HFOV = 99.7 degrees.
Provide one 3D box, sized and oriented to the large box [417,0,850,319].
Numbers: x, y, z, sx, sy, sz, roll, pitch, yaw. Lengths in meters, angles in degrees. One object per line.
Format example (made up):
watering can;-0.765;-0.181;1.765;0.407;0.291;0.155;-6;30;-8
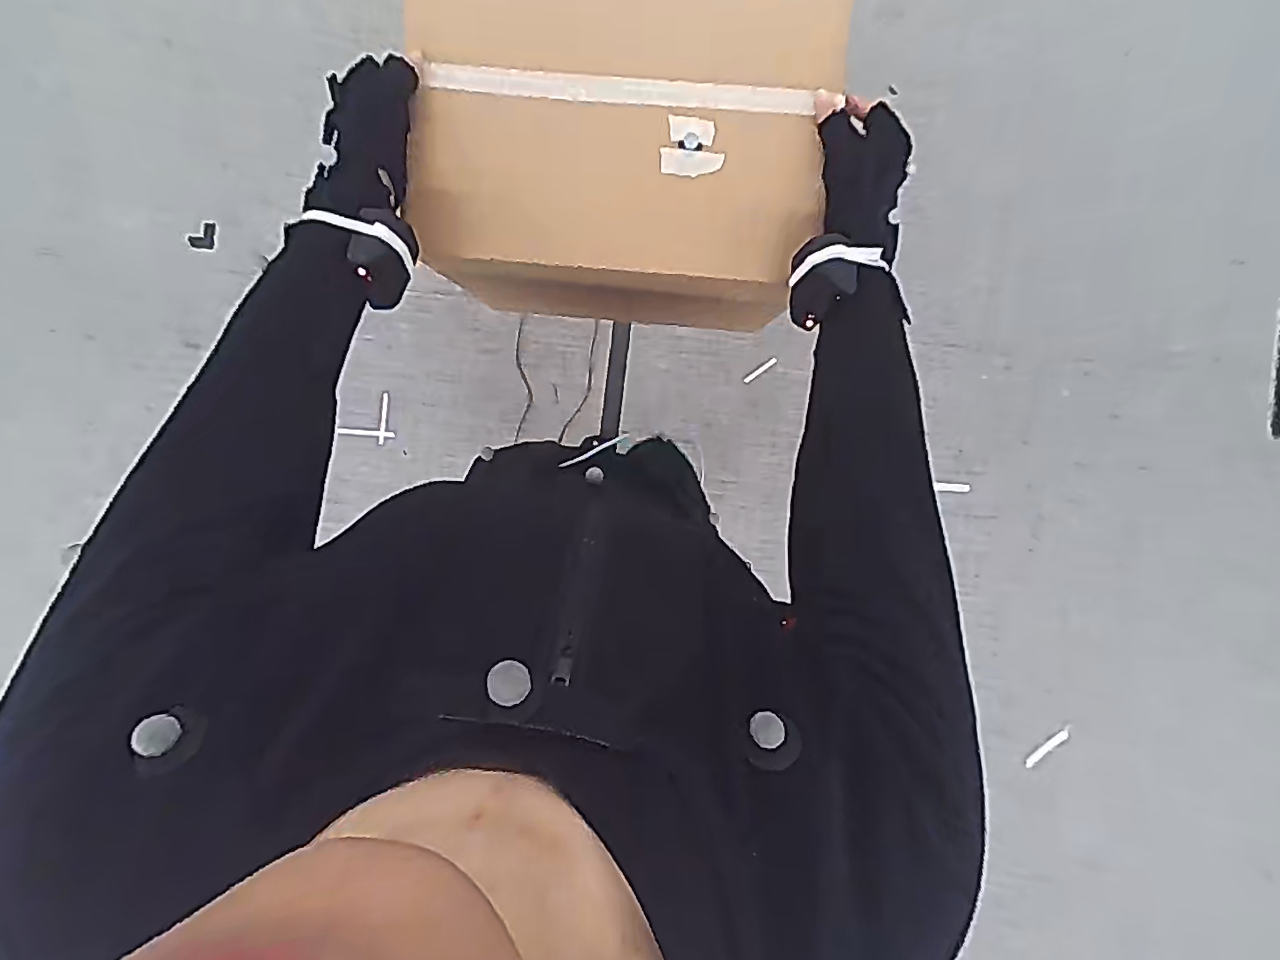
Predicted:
large box;-0.011;-0.387;0.655;0.408;0.320;0.320;4;98;0
